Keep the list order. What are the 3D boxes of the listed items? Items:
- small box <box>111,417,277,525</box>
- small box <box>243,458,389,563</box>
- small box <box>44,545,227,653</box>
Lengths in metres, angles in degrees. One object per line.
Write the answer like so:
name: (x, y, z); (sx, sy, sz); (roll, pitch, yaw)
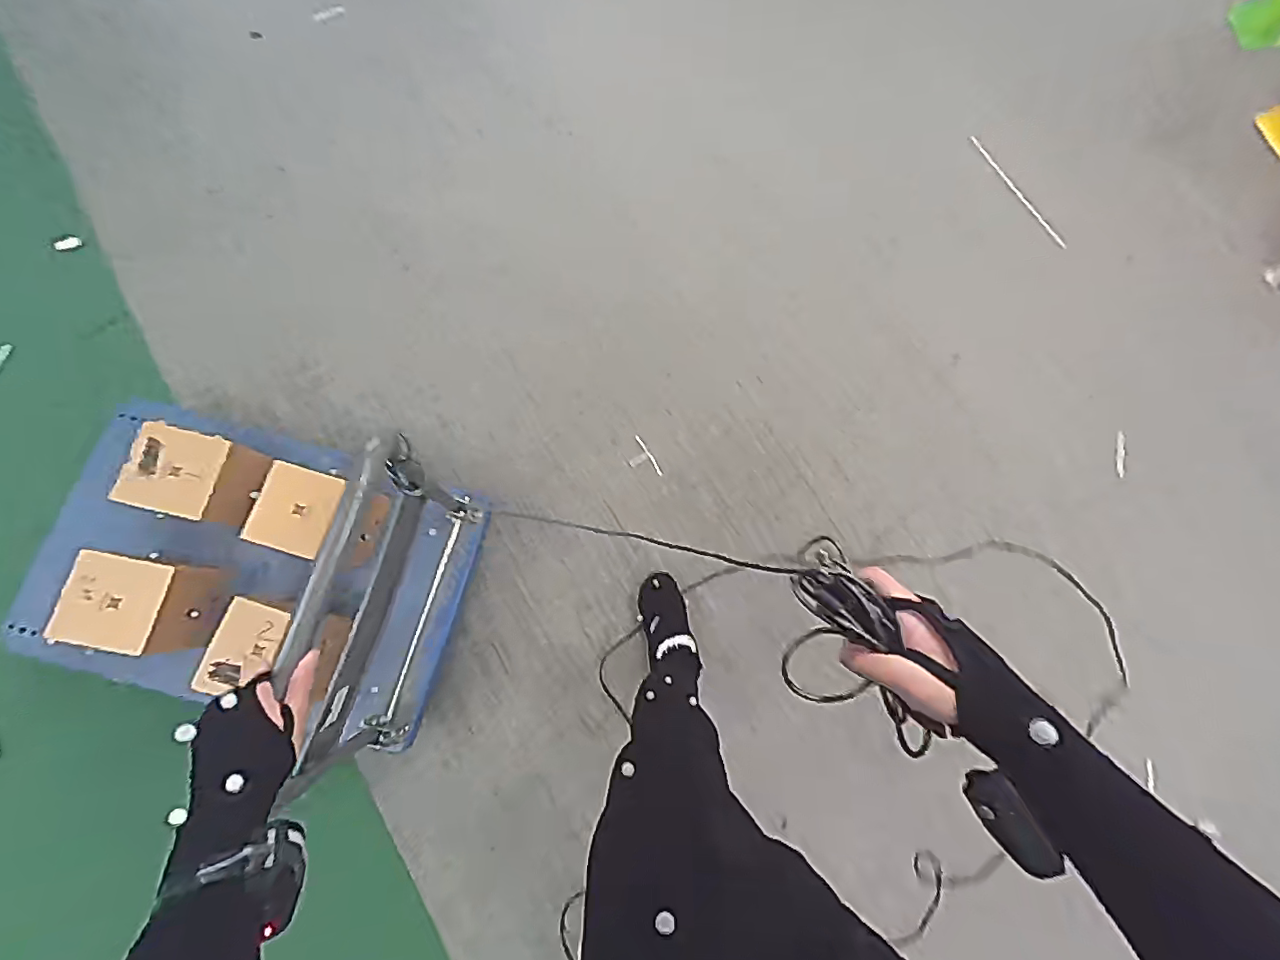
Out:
small box: (-0.910, -0.010, 1.124); (0.179, 0.176, 0.168); (15, 77, -3)
small box: (-0.664, 0.073, 1.131); (0.179, 0.176, 0.168); (18, 77, -2)
small box: (-0.974, 0.232, 1.066); (0.179, 0.176, 0.168); (13, 76, -3)
